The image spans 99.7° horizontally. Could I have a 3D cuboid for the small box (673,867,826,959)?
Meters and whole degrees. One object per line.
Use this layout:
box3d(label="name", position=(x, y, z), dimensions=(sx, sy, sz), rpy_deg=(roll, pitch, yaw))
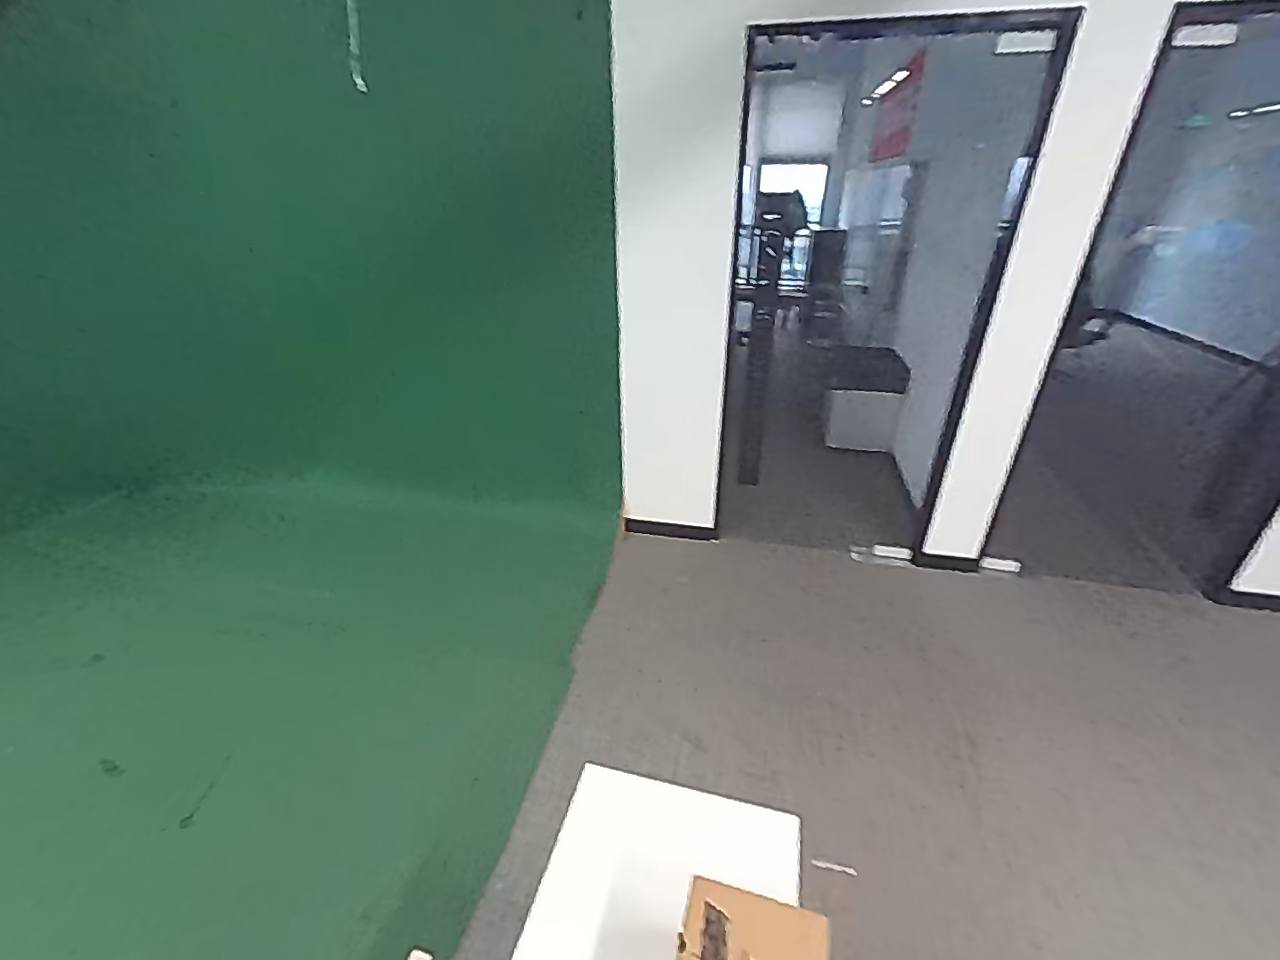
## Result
box3d(label="small box", position=(0.132, 0.646, 0.684), dimensions=(0.179, 0.176, 0.168), rpy_deg=(8, 30, 15))
